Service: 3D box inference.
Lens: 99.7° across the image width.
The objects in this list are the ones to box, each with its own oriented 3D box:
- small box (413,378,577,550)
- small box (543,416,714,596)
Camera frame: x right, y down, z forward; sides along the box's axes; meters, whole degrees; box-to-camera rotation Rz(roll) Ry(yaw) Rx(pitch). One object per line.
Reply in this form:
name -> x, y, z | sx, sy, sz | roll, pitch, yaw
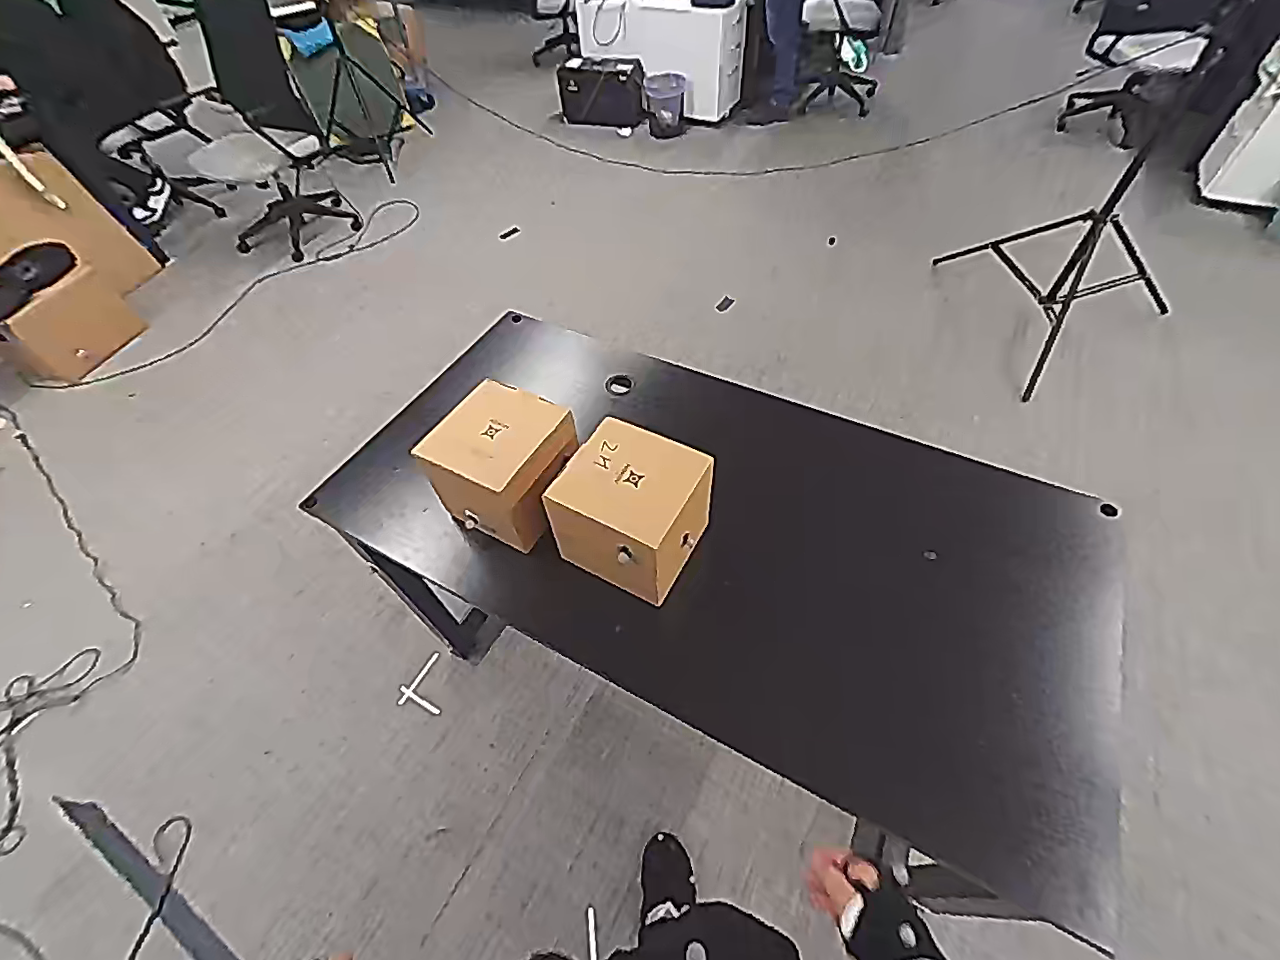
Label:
small box -> -0.209, -0.023, 0.845 | 0.168, 0.176, 0.179 | 21, 58, 20
small box -> -0.010, 0.044, 0.779 | 0.179, 0.176, 0.168 | 23, 57, 20
